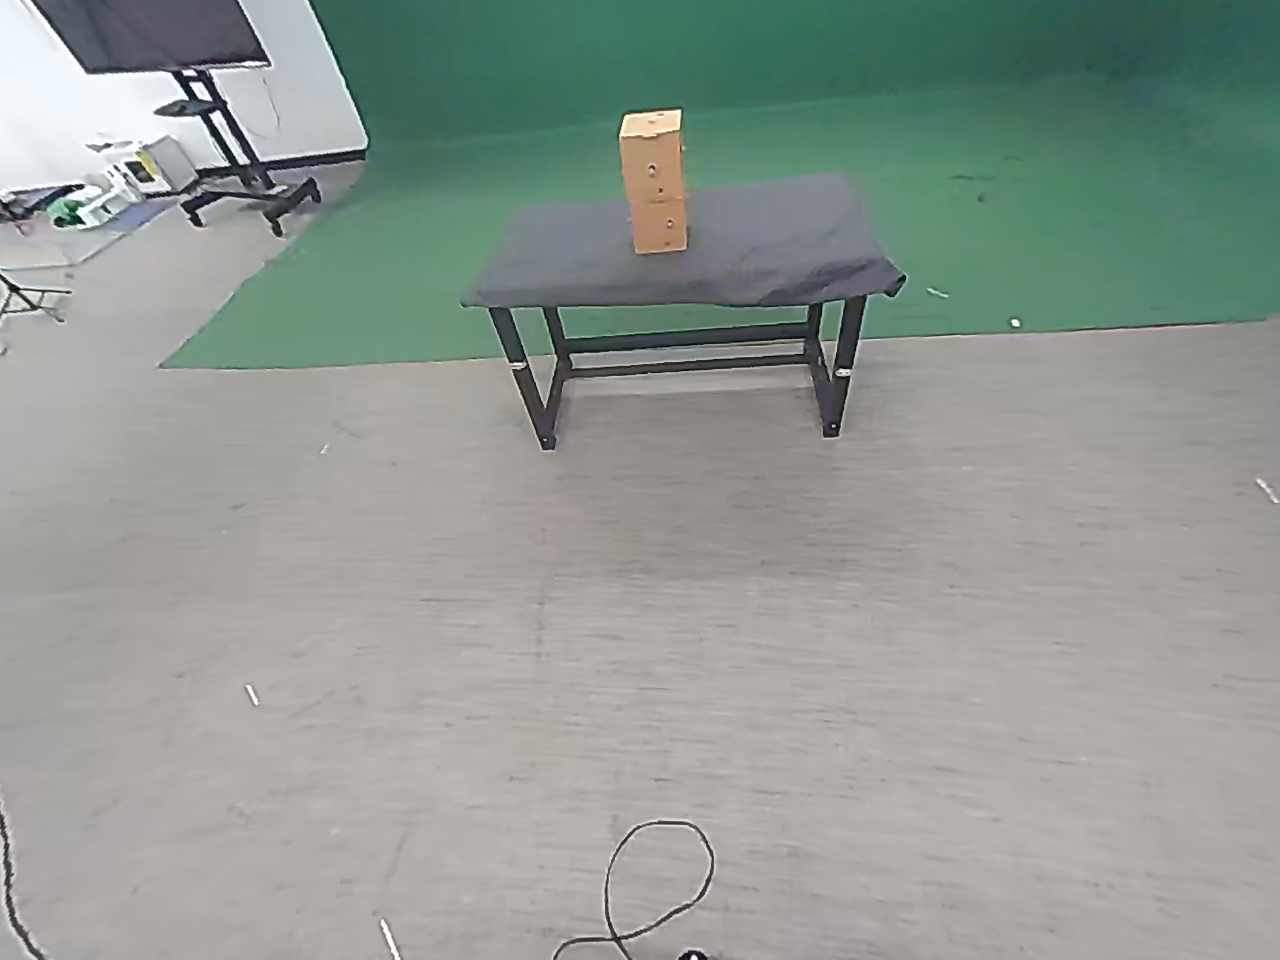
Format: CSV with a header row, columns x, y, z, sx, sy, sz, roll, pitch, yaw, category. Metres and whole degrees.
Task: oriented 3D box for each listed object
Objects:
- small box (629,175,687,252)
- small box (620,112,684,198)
x,y,z,sx,sy,sz,roll,pitch,yaw,category
0.062,-0.828,1.692,0.168,0.176,0.179,-2,49,6,small box
0.041,-0.937,1.571,0.168,0.176,0.179,0,51,7,small box
